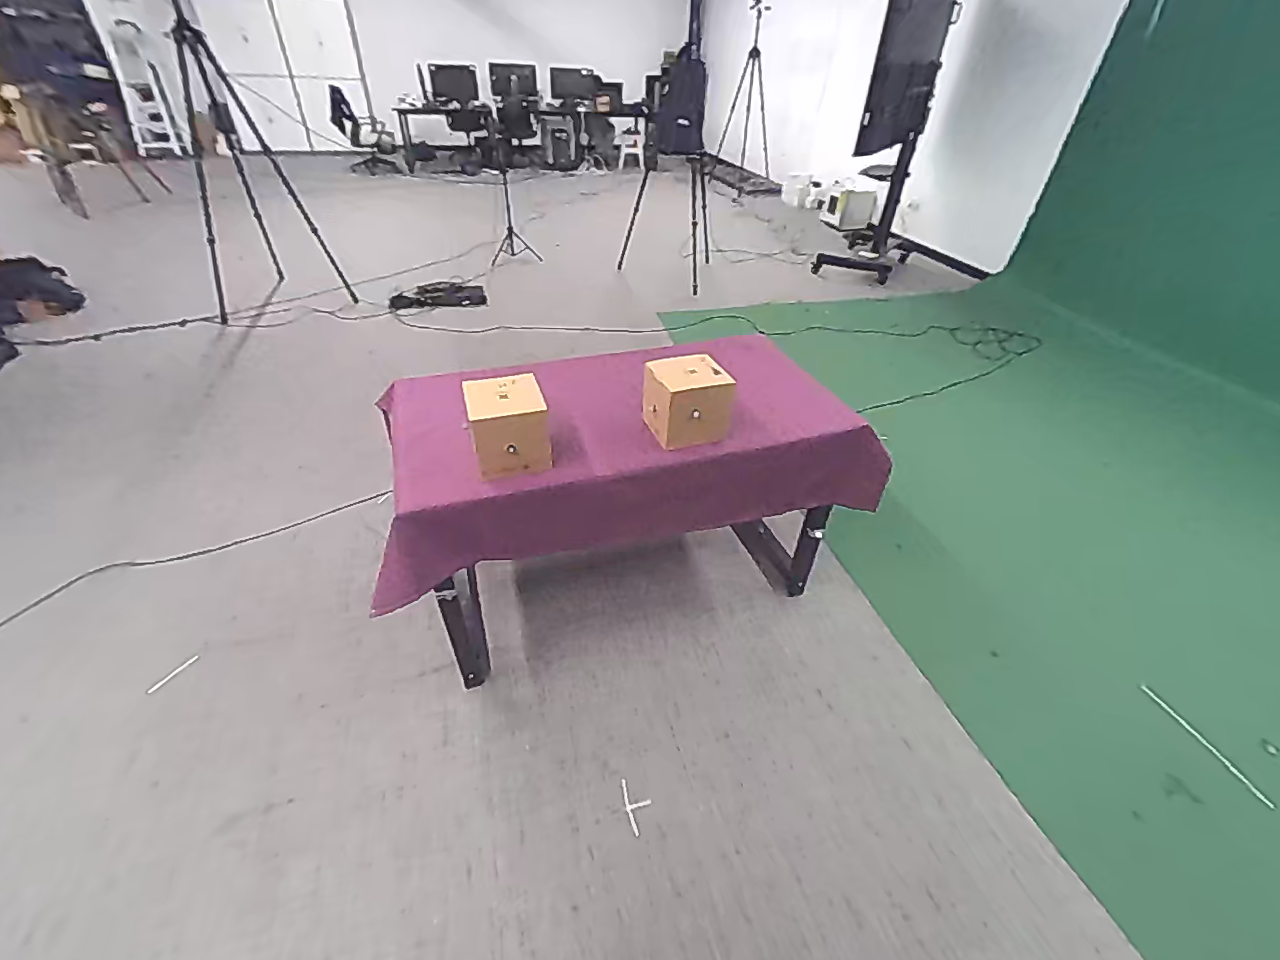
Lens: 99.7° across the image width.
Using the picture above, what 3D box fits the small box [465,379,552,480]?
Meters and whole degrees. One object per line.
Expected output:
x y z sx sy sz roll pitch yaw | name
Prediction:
-0.305 -0.115 1.261 0.168 0.176 0.179 -10 40 -16 | small box

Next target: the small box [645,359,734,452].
0.120 -0.189 1.378 0.179 0.176 0.168 -12 41 -16 | small box
